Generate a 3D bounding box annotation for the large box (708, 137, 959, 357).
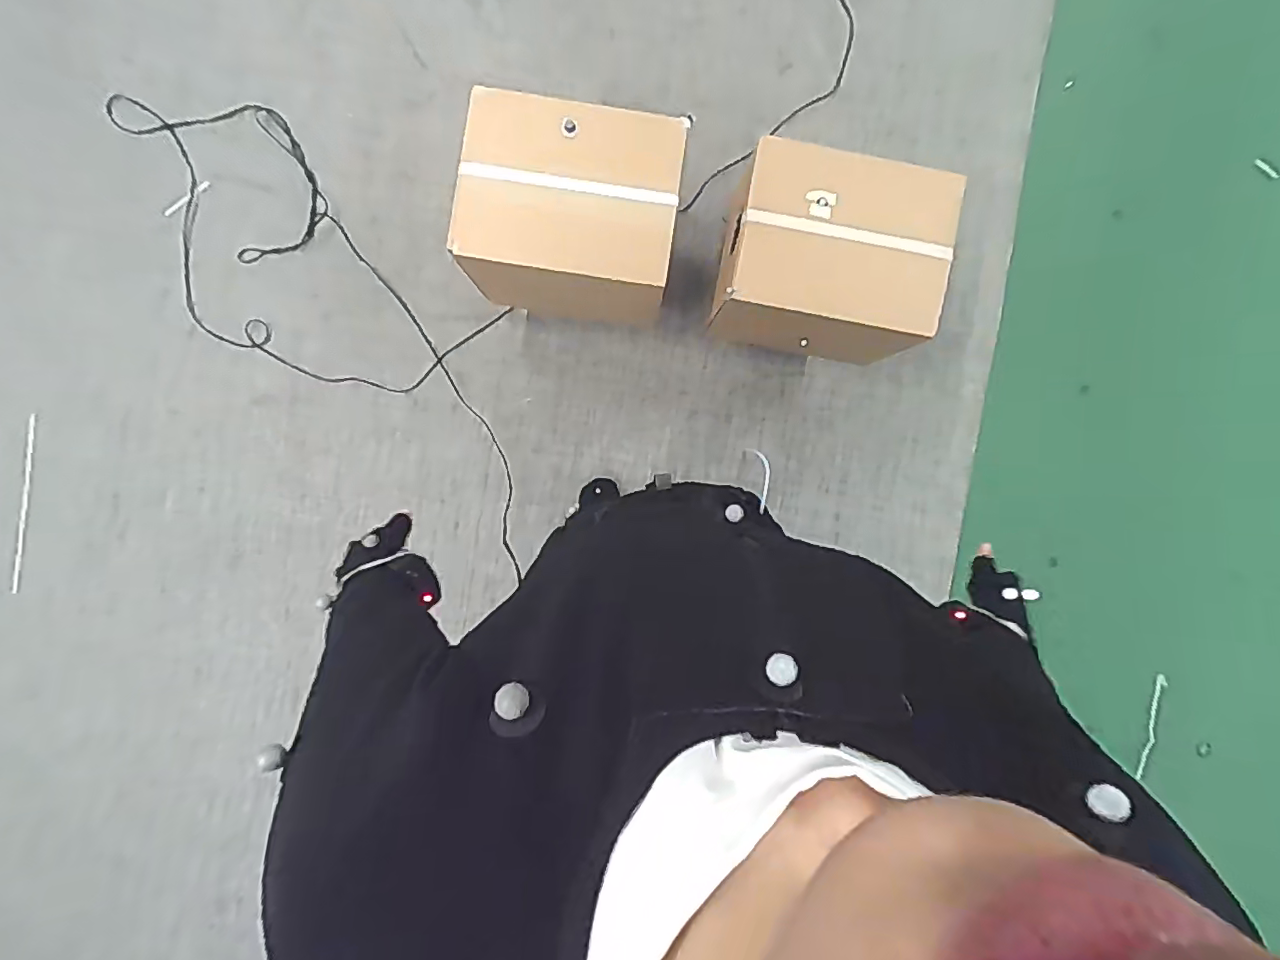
[{"bbox_3d":[0.389,-0.474,1.181,0.408,0.320,0.320,11,91,-2],"label":"large box"}]
